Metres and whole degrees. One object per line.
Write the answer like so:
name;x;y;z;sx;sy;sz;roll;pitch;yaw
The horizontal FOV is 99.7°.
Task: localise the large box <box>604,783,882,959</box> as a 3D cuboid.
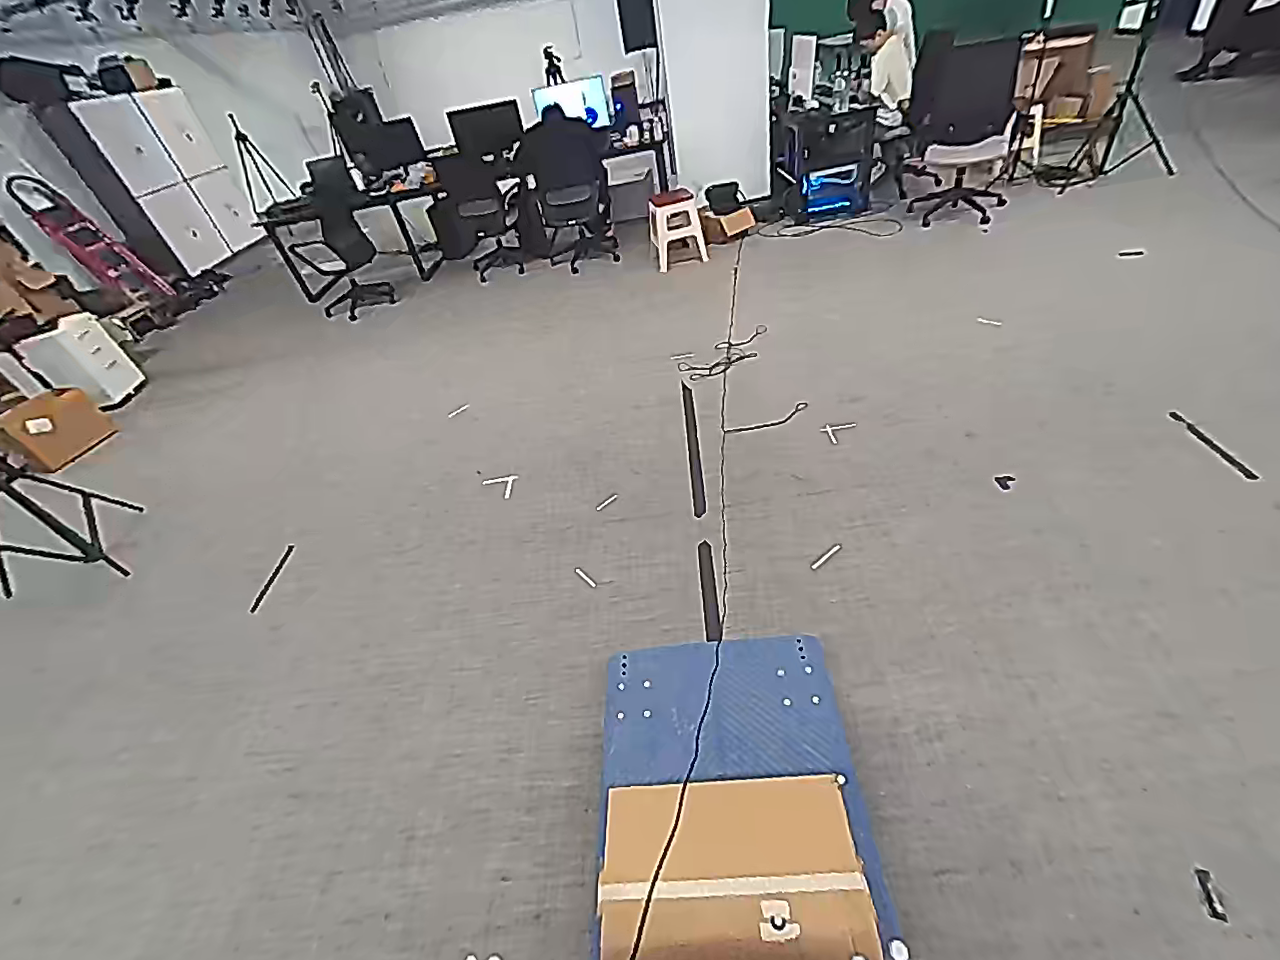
large box;0.164;0.756;0.920;0.408;0.320;0.320;-7;39;7
